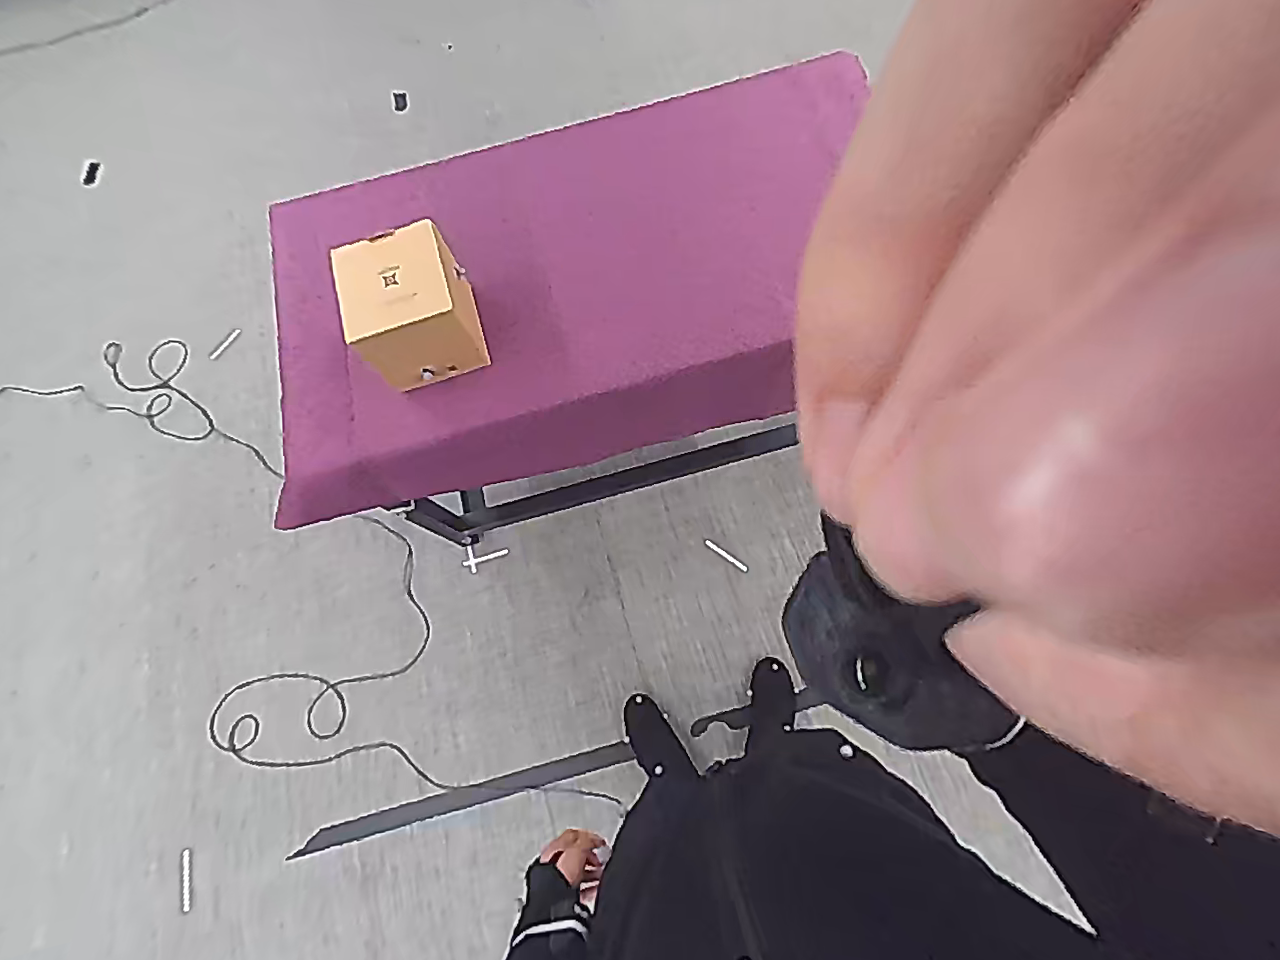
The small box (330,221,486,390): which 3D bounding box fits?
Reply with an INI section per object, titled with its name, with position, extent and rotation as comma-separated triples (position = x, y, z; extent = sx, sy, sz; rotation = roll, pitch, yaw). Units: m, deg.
[small box]
position = -0.370, -0.276, 0.882
extent = 0.168, 0.176, 0.179
rotation = -18, 72, -1
